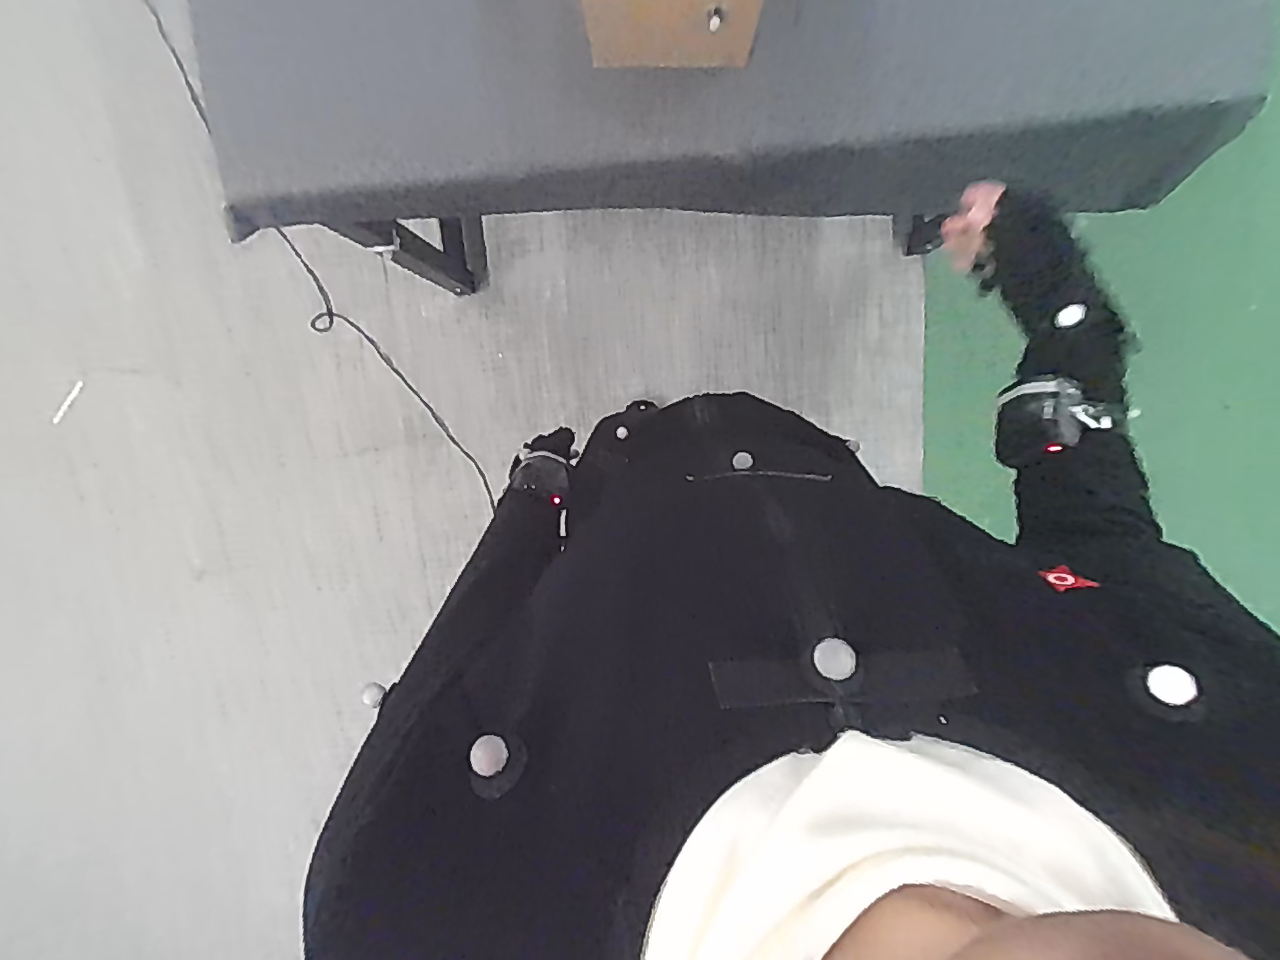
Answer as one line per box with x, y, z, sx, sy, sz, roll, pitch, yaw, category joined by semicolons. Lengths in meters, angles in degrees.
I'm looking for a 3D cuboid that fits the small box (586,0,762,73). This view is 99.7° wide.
0.036;-0.542;0.536;0.179;0.176;0.168;1;97;2;small box
